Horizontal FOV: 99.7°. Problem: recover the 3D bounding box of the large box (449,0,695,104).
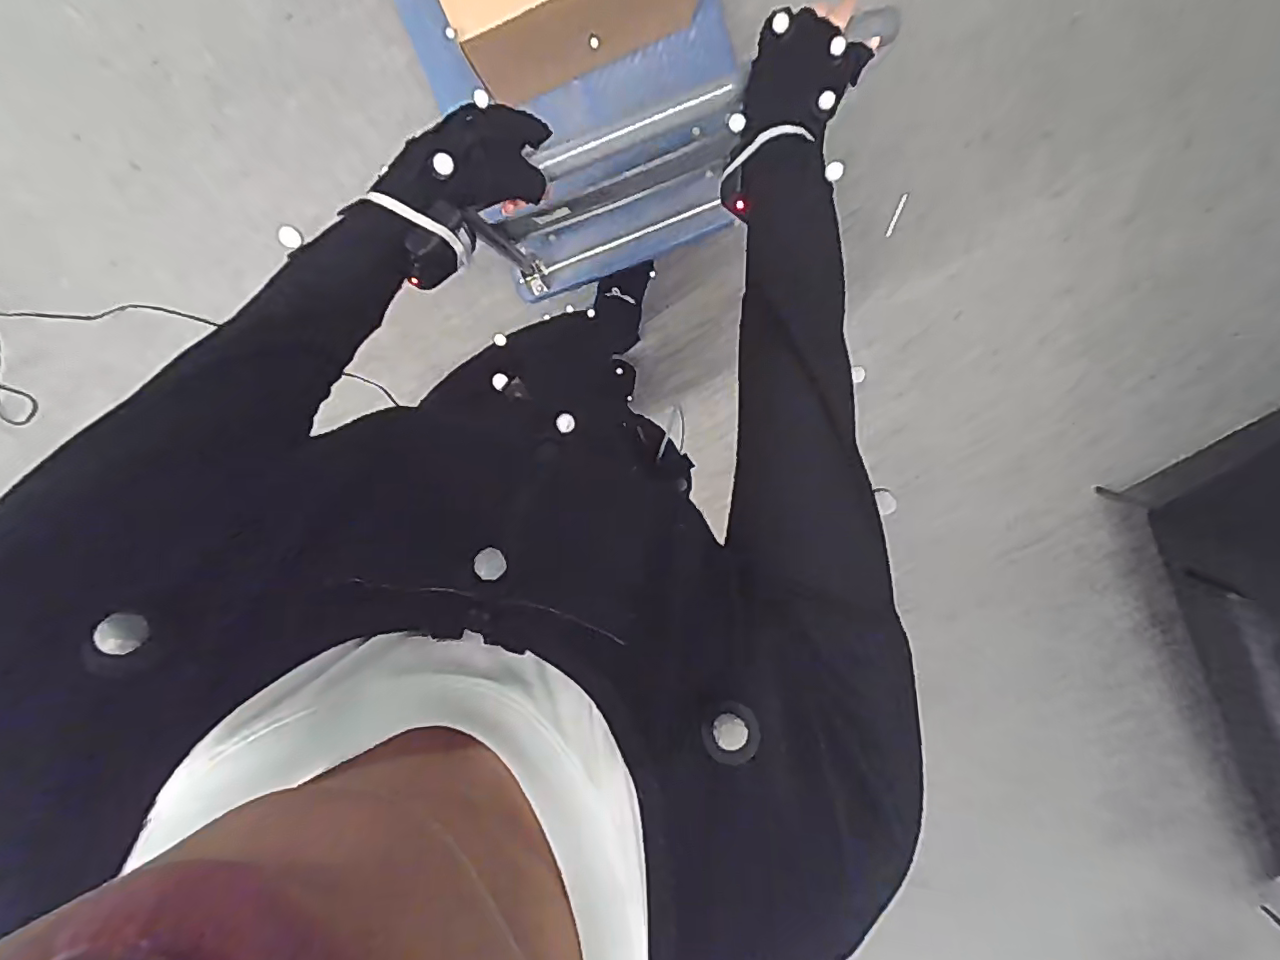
[{"bbox_3d":[-0.131,-0.897,0.868,0.408,0.320,0.320,-22,108,6],"label":"large box"}]
